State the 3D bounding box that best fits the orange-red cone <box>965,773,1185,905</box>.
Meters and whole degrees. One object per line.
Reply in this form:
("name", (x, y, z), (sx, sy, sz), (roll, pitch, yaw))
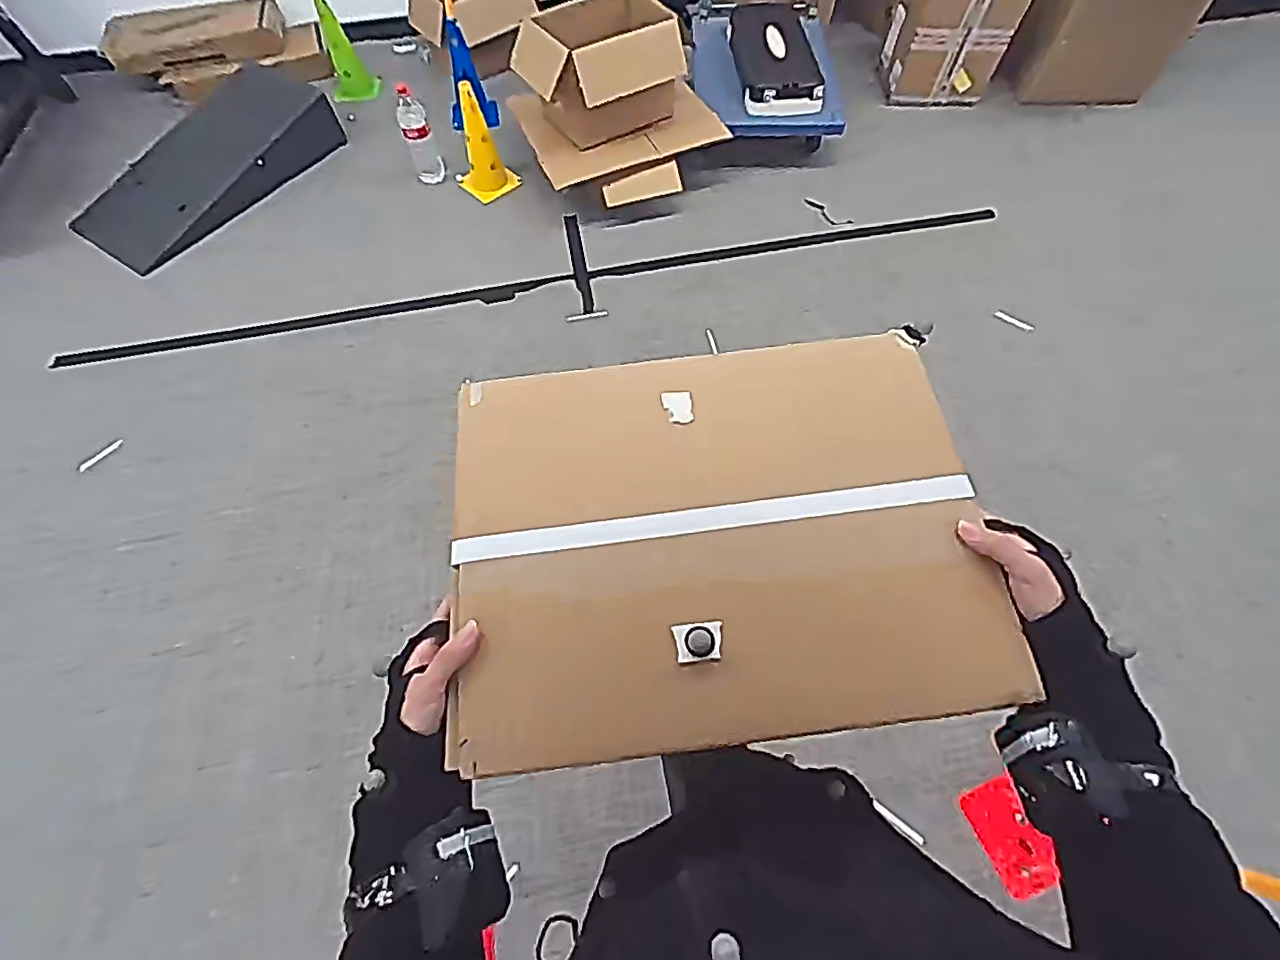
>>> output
("orange-red cone", (0.805, 0.661, 0.973), (0.199, 0.360, 0.198), (-17, 64, -9))
